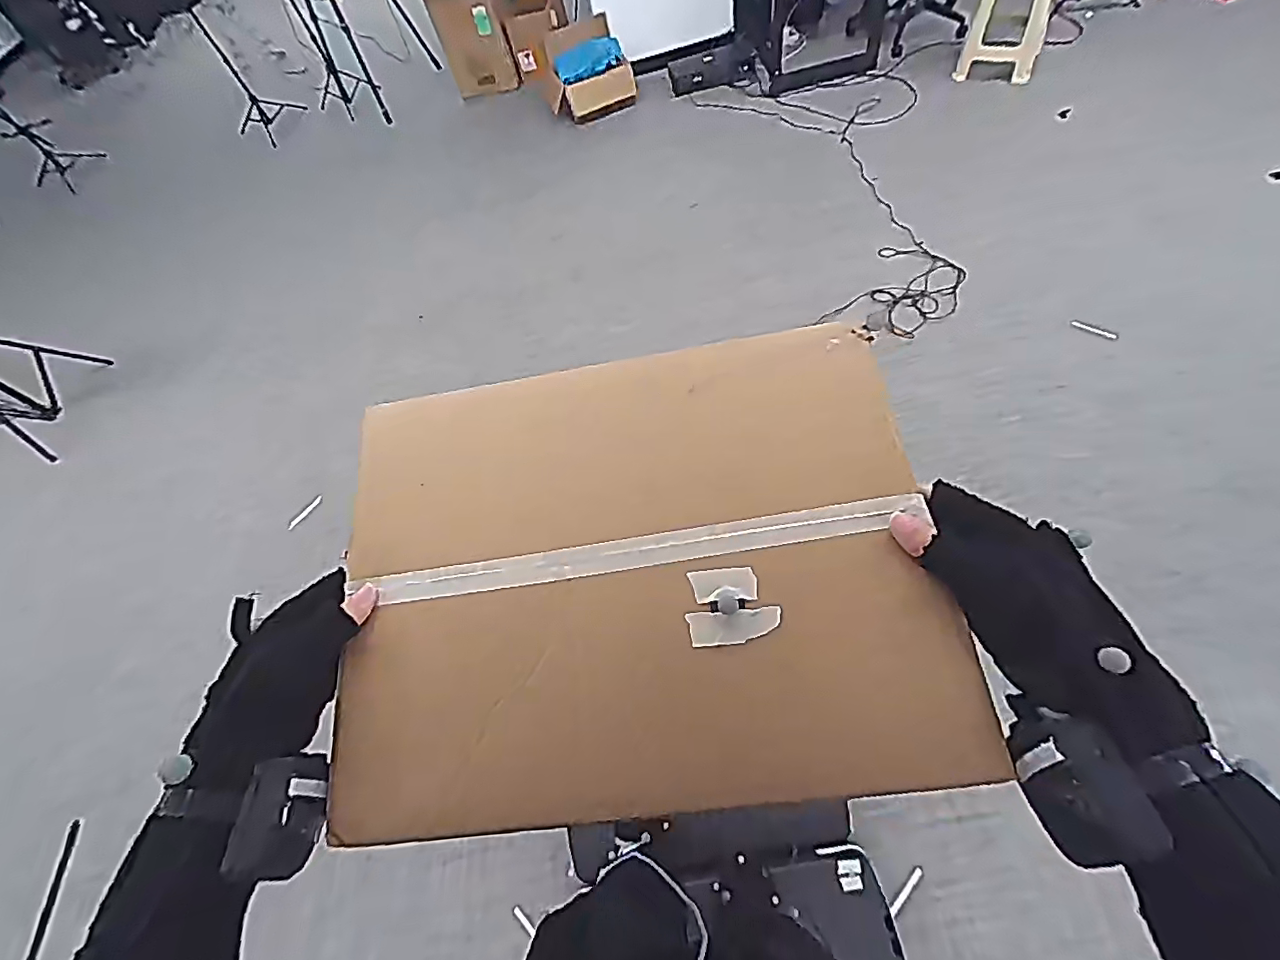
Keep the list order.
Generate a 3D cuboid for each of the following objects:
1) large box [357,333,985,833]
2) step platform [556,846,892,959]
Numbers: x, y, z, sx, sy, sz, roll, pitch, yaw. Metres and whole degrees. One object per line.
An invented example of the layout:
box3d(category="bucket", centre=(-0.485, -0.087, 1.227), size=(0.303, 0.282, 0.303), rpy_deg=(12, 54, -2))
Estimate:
box3d(category="large box", centre=(0.012, 0.110, 0.526), size=(0.408, 0.320, 0.320), rpy_deg=(-9, 68, 5))
box3d(category="step platform", centre=(0.167, 0.996, 1.138), size=(0.684, 0.204, 0.286), rpy_deg=(-14, 57, 5))
